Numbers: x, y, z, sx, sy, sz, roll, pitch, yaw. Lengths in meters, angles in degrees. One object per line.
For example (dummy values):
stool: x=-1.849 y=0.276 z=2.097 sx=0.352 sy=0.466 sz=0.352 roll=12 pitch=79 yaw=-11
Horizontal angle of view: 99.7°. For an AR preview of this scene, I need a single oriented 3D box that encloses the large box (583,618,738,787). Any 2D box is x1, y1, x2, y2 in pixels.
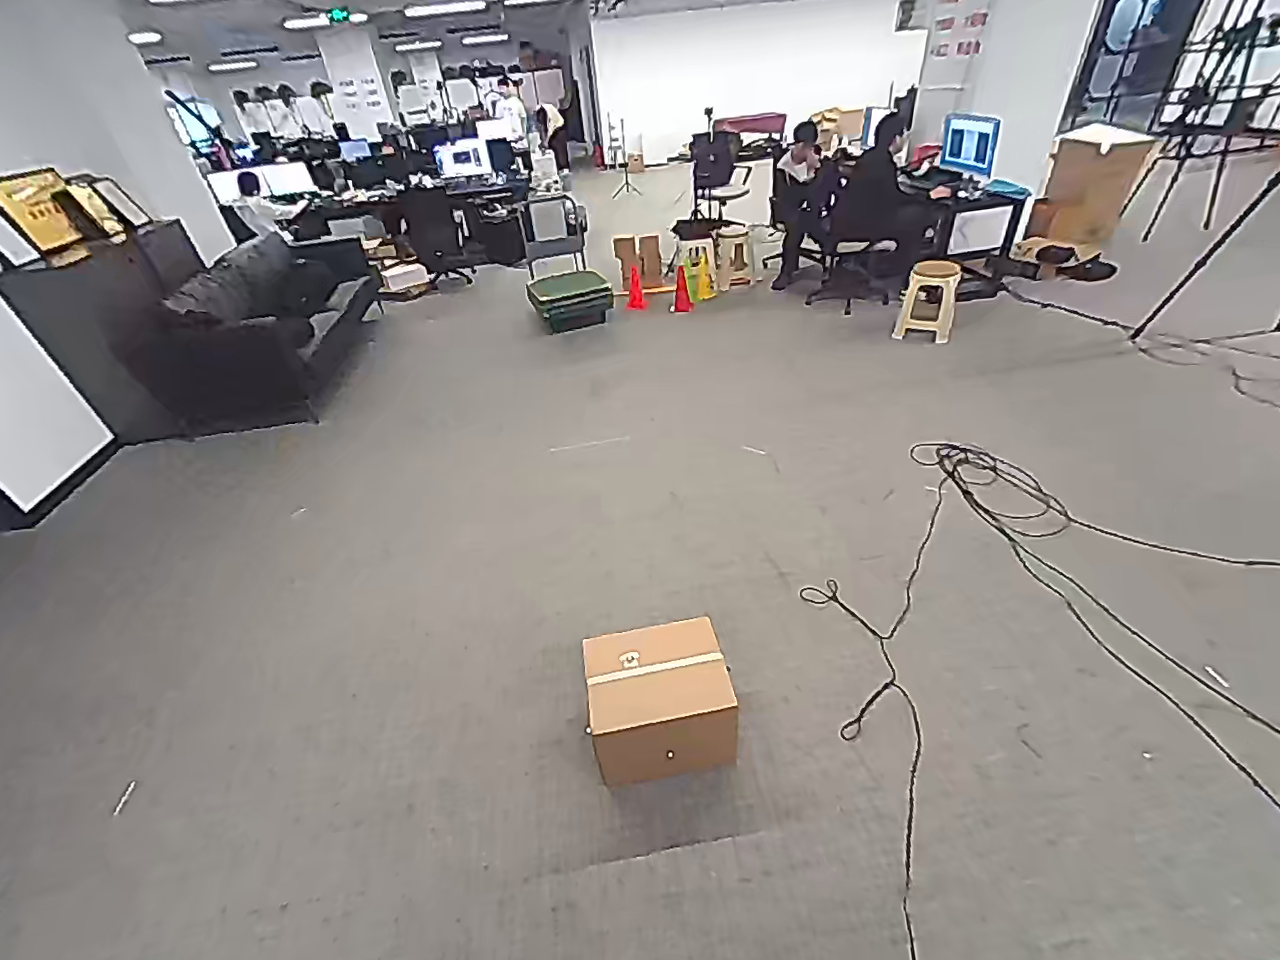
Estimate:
large box: x=0.061 y=0.680 z=1.661 sx=0.408 sy=0.320 sz=0.320 roll=-11 pitch=36 yaw=-4
